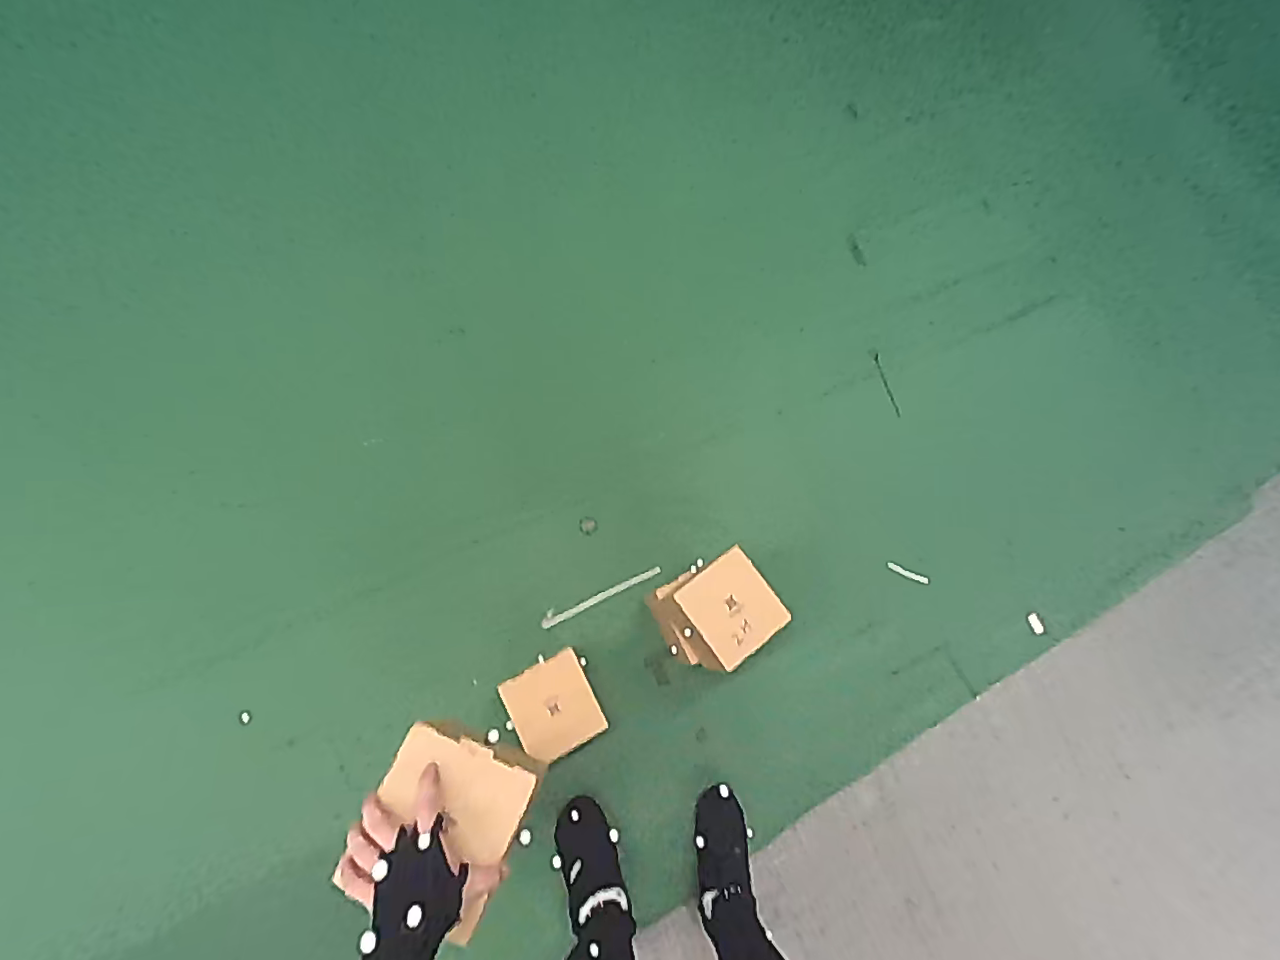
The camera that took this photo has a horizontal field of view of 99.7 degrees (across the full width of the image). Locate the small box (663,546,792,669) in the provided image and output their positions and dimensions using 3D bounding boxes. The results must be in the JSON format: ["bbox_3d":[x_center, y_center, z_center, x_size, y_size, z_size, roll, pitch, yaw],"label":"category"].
[{"bbox_3d":[0.167,0.262,1.098,0.168,0.176,0.179,-34,81,-15],"label":"small box"}]

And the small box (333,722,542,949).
[{"bbox_3d":[-0.235,0.425,0.685,0.168,0.176,0.179,22,67,6],"label":"small box"}]

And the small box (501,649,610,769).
[{"bbox_3d":[-0.177,0.479,1.160,0.168,0.176,0.179,-26,77,-14],"label":"small box"}]
